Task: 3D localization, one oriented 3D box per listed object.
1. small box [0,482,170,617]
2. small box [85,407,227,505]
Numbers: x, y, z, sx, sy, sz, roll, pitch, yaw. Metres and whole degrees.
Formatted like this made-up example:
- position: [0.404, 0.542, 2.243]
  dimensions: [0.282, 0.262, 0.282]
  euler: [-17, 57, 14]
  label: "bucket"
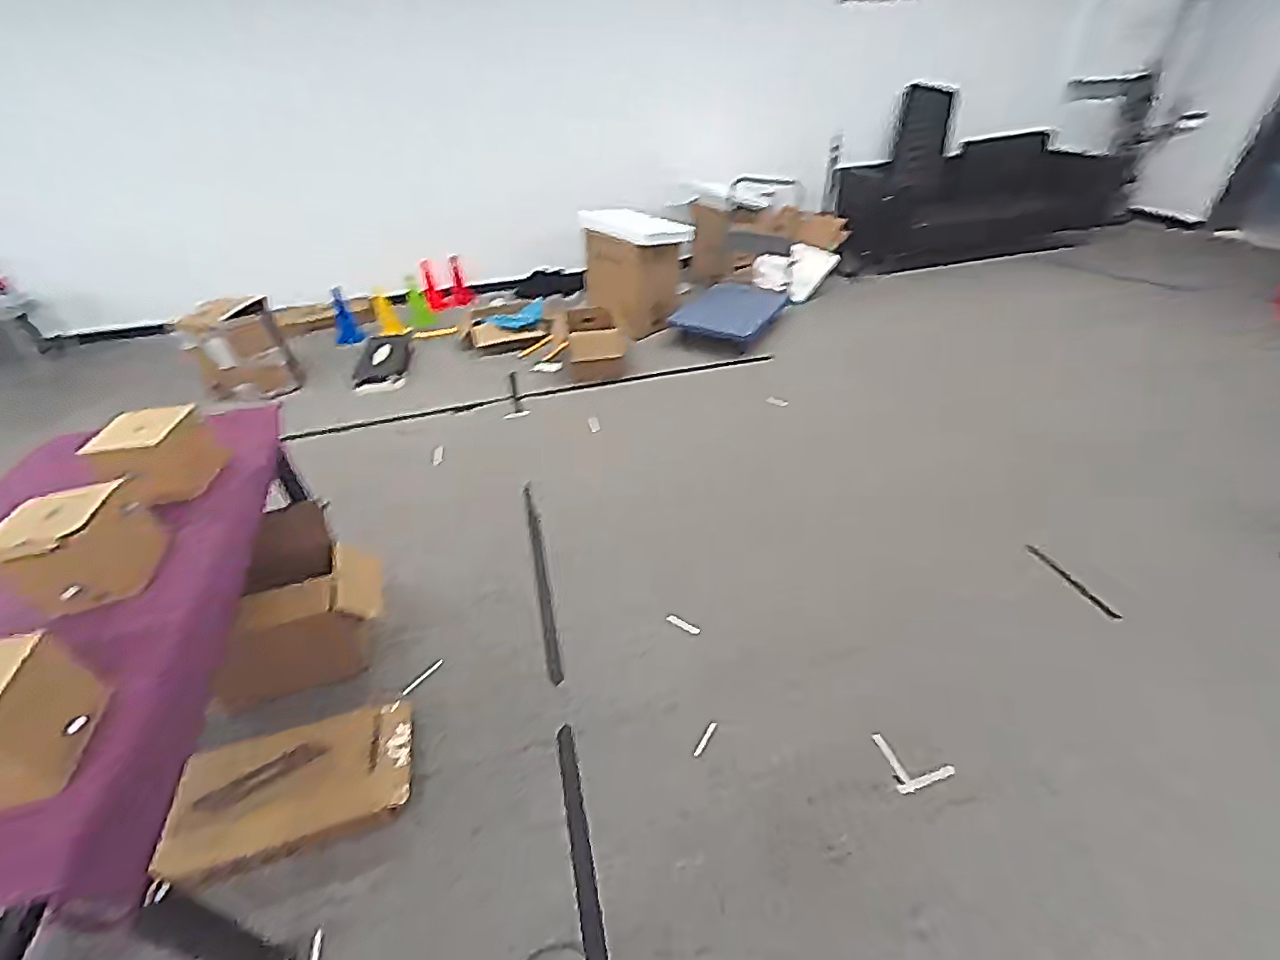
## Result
- position: [-1.082, 0.135, 1.061]
  dimensions: [0.168, 0.176, 0.179]
  euler: [-15, 39, -11]
  label: "small box"
- position: [-1.152, -0.052, 1.309]
  dimensions: [0.168, 0.176, 0.179]
  euler: [-8, 38, -6]
  label: "small box"
